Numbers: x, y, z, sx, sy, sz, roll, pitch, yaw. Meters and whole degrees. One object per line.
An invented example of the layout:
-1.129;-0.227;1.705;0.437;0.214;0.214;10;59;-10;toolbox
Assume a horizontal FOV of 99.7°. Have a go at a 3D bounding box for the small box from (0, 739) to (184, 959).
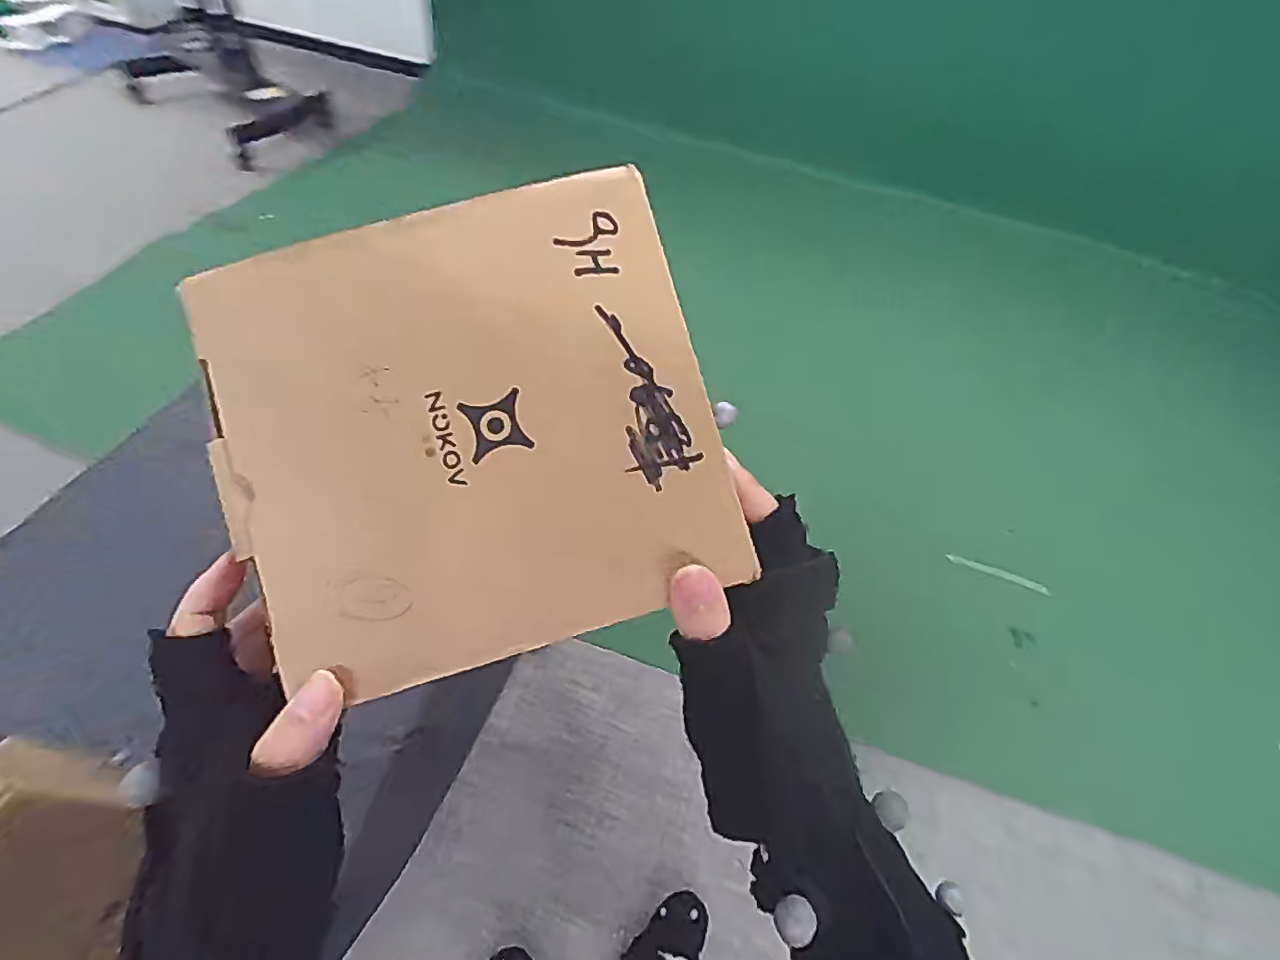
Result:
-0.445;0.252;0.323;0.179;0.176;0.168;13;54;6;small box
